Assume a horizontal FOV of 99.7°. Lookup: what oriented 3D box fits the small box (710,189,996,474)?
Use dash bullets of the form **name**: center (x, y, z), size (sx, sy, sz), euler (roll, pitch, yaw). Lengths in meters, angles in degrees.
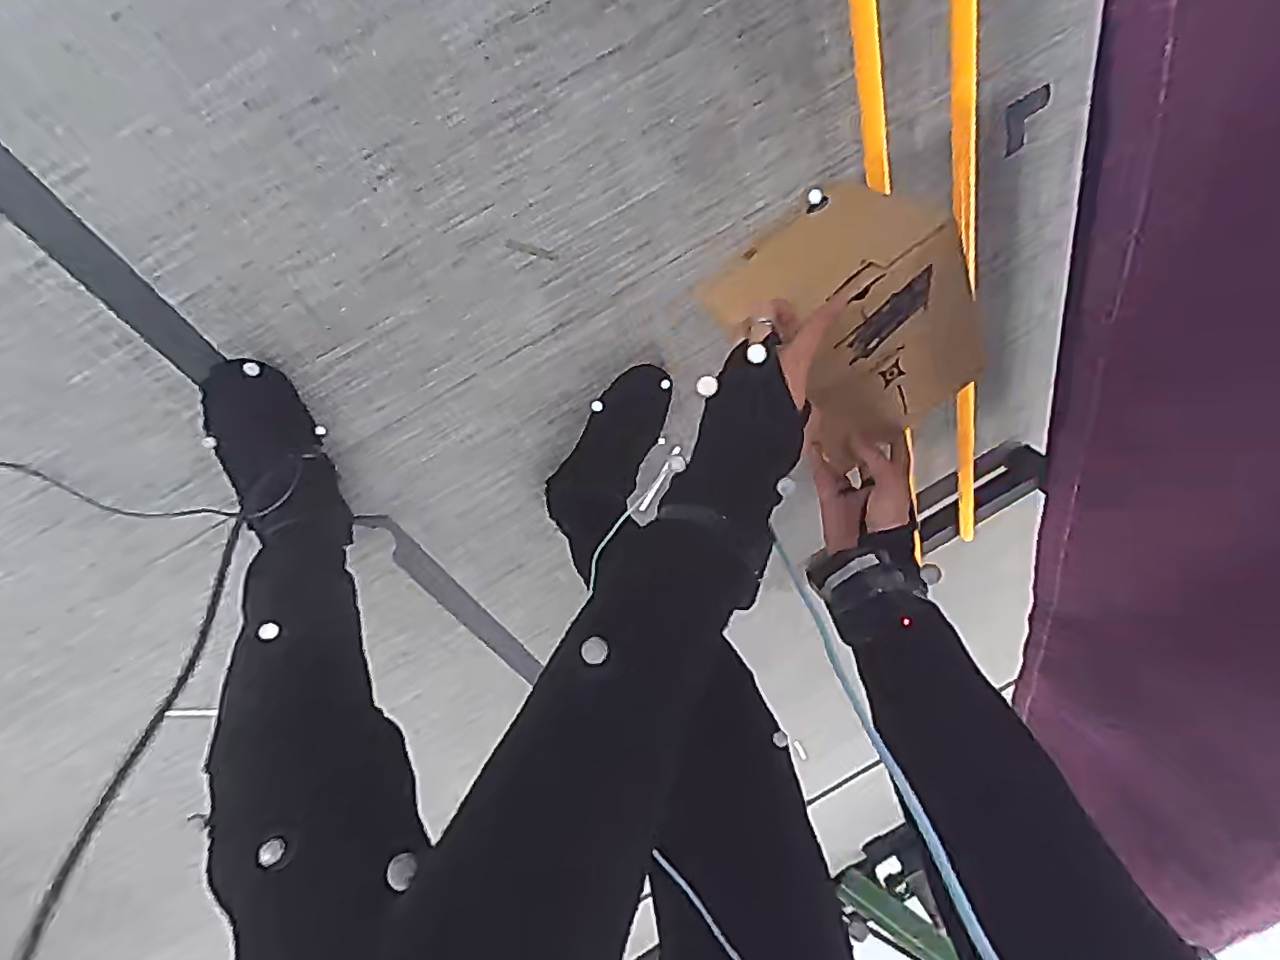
- **small box**: center (0.193, -0.146, 0.513), size (0.168, 0.176, 0.179), euler (-37, 132, 10)
